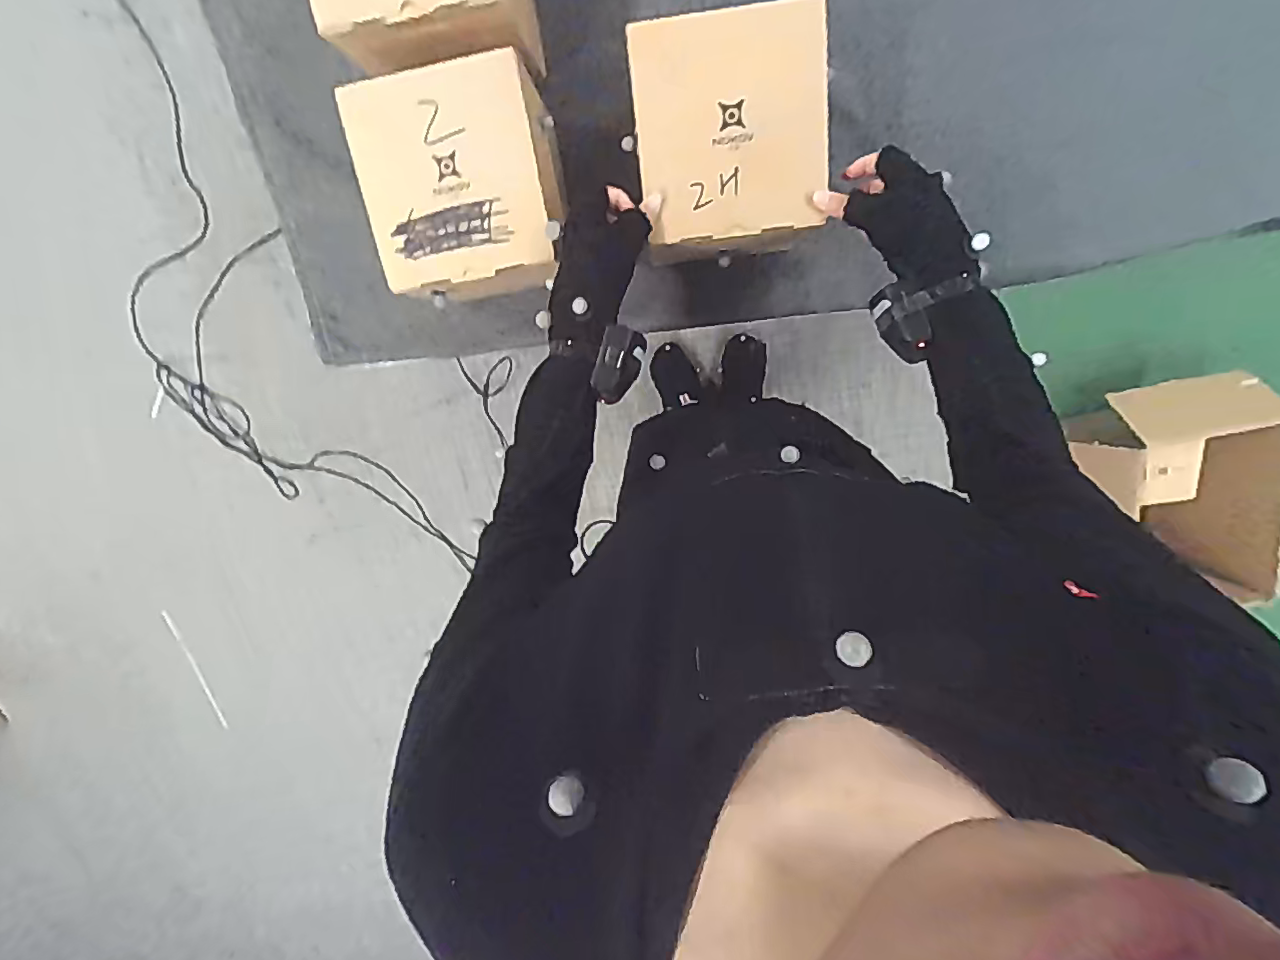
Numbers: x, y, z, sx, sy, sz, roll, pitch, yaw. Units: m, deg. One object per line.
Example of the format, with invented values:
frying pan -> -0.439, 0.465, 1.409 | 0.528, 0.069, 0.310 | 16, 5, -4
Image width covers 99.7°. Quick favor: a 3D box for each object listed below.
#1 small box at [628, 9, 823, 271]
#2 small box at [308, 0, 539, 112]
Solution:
small box -> 0.079, -0.322, 0.551 | 0.168, 0.176, 0.179 | -5, 106, 4
small box -> -0.205, -0.491, 0.515 | 0.168, 0.176, 0.179 | -7, 107, 4
